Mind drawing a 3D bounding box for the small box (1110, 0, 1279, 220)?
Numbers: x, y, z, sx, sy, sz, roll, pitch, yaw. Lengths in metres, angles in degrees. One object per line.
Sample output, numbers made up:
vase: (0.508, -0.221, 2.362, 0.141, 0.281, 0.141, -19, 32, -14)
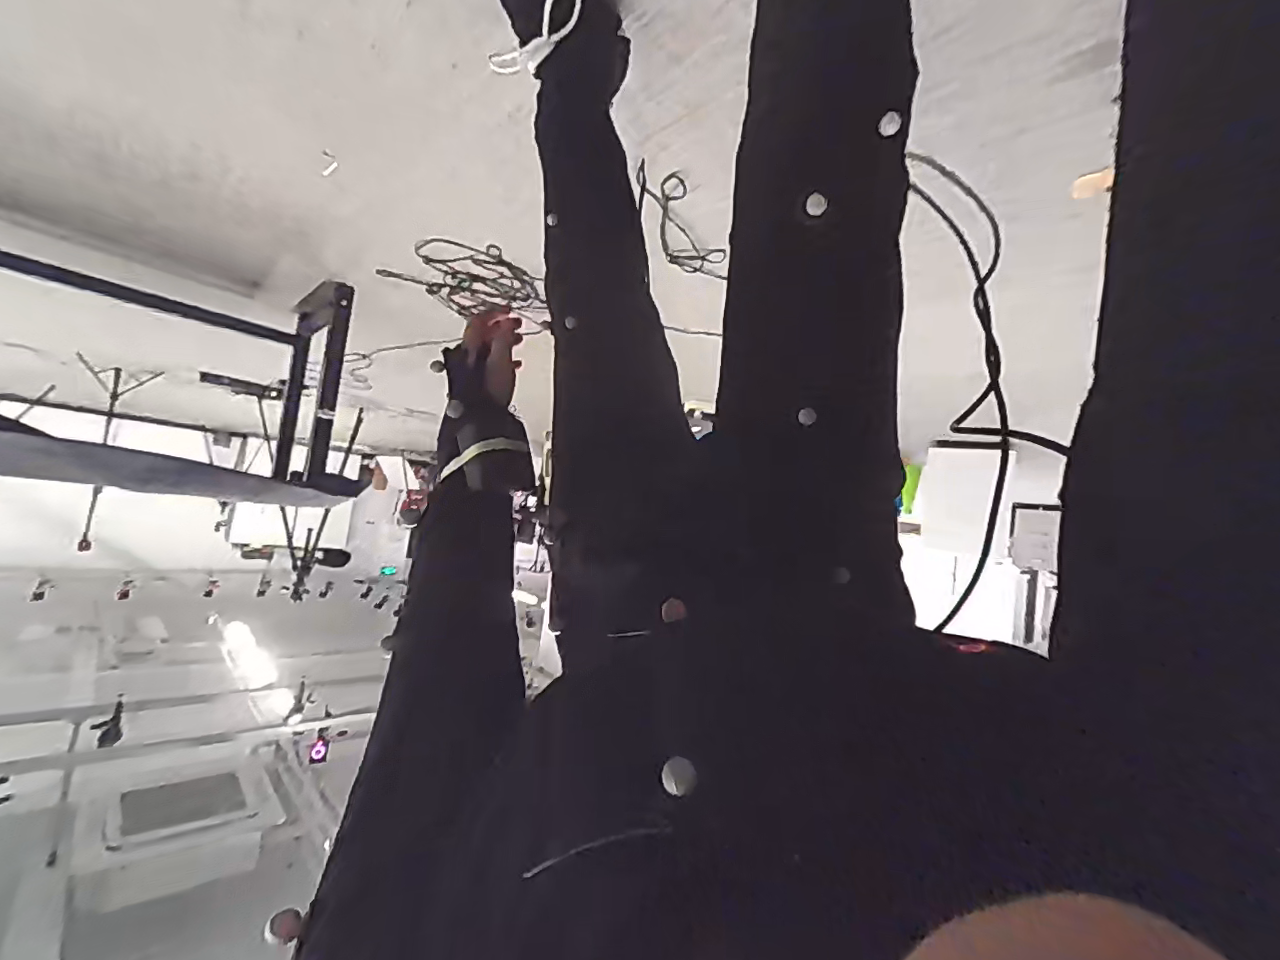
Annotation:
small box: (0.679, -0.441, 0.631, 0.179, 0.176, 0.168, 4, 175, 34)
